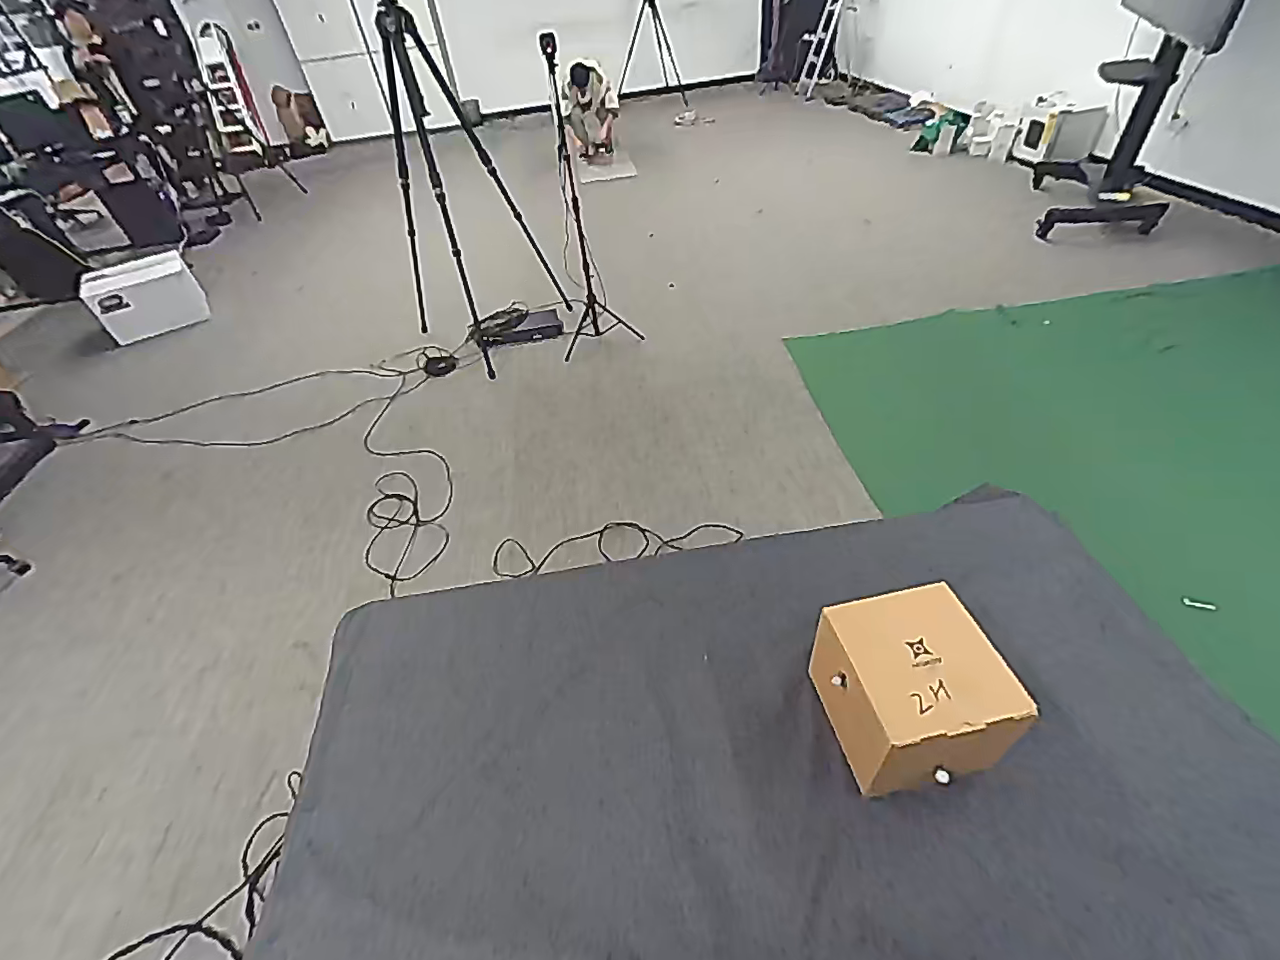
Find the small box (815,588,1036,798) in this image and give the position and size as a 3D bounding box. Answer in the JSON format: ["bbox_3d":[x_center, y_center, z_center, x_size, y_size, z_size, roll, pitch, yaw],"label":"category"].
[{"bbox_3d":[0.337,0.269,0.685,0.168,0.176,0.179,-12,43,-3],"label":"small box"}]
